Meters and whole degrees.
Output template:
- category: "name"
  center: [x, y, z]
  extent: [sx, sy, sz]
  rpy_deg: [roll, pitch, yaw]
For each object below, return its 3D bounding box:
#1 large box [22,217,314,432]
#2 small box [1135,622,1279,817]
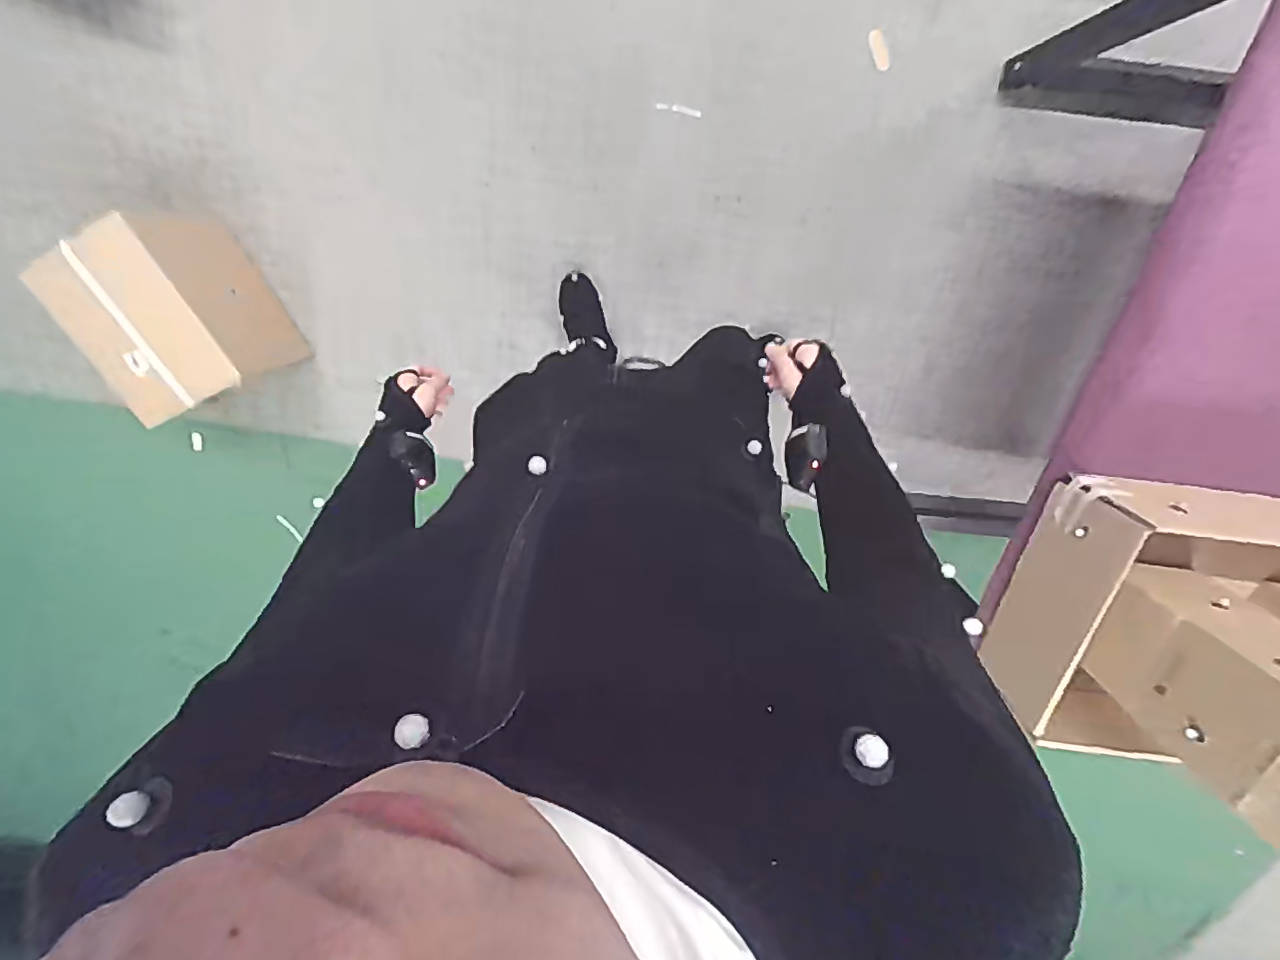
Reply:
- category: "large box"
  center: [-1.159, -0.399, 1.383]
  extent: [0.320, 0.320, 0.408]
  rpy_deg: [-23, 112, 11]
- category: "small box"
  center: [0.798, 0.300, 0.680]
  extent: [0.179, 0.176, 0.168]
  rpy_deg: [8, 112, -3]
